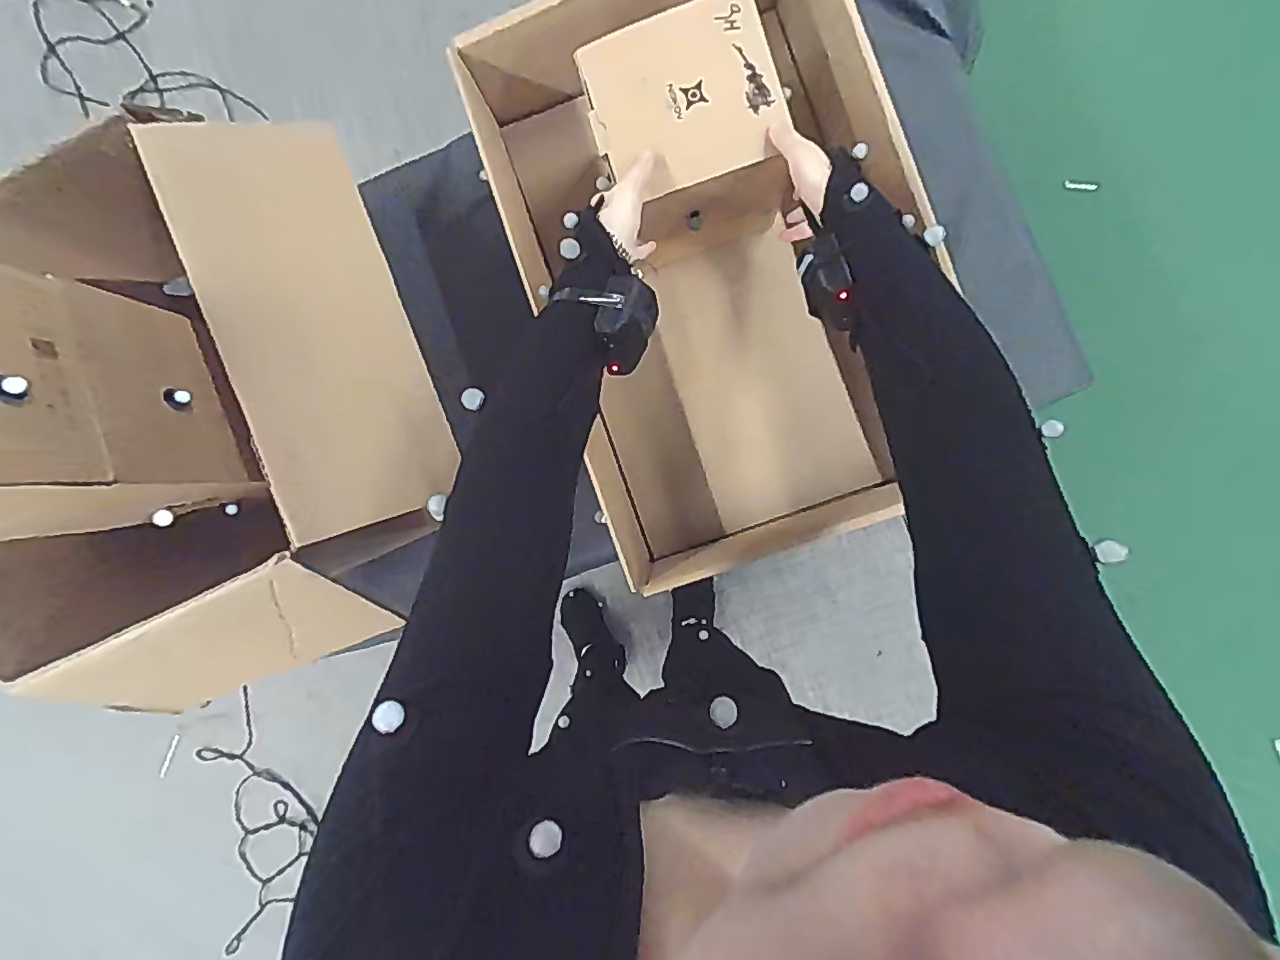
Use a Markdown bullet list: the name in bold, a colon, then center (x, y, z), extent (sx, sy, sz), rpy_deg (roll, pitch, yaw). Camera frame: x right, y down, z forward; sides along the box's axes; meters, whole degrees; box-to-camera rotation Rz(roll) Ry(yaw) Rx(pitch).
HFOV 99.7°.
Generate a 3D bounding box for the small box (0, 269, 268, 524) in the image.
- **small box**: center (-0.503, -0.064, 0.508), extent (0.168, 0.176, 0.179), rpy_deg (-18, 92, 5)

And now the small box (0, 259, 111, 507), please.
- **small box**: center (-0.516, -0.057, 0.347), extent (0.179, 0.176, 0.168), rpy_deg (-17, 90, 4)
